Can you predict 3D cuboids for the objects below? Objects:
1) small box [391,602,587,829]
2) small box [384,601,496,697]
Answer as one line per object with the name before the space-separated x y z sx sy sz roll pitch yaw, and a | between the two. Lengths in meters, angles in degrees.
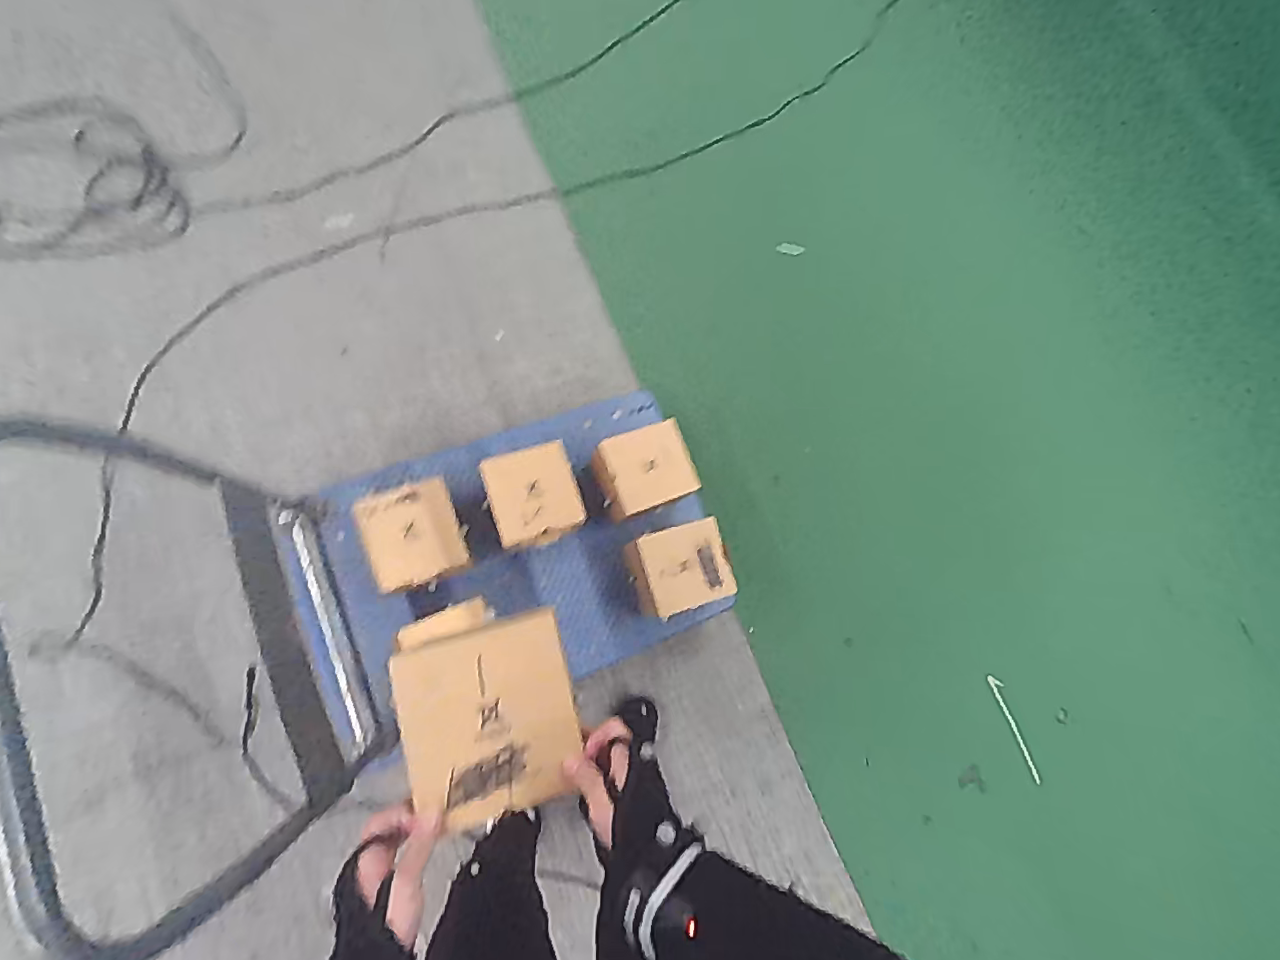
small box | -0.158 0.243 0.608 0.168 0.176 0.179 -12 81 -11
small box | -0.368 0.331 1.049 0.179 0.176 0.168 11 76 -10
